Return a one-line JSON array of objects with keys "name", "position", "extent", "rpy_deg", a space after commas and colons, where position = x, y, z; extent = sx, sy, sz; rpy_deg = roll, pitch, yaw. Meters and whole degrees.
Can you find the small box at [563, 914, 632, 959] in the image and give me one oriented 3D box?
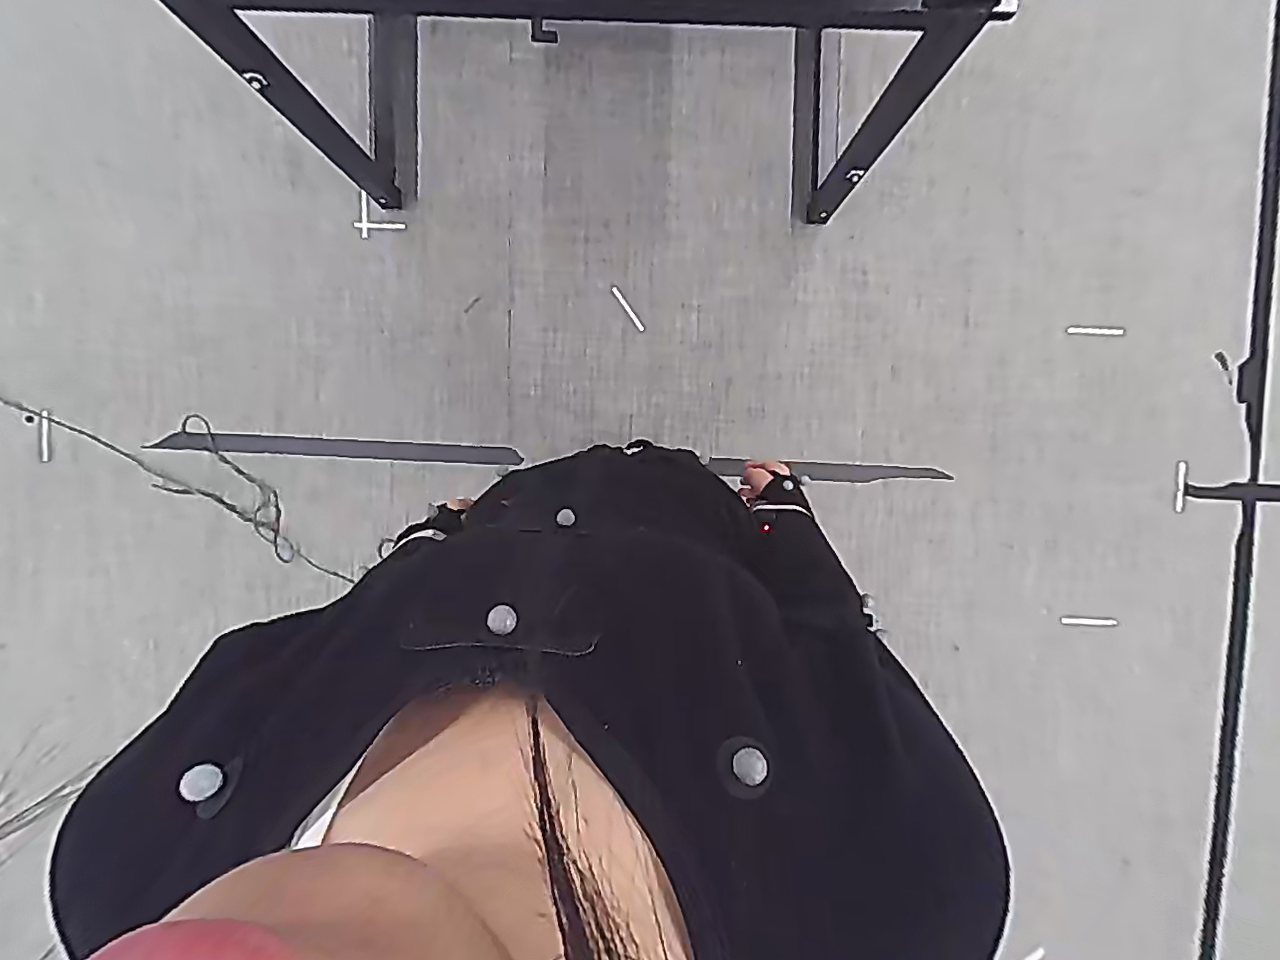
[{"name": "small box", "position": [-0.113, 1.323, 1.462], "extent": [0.168, 0.176, 0.179], "rpy_deg": [-12, 92, 0]}]
